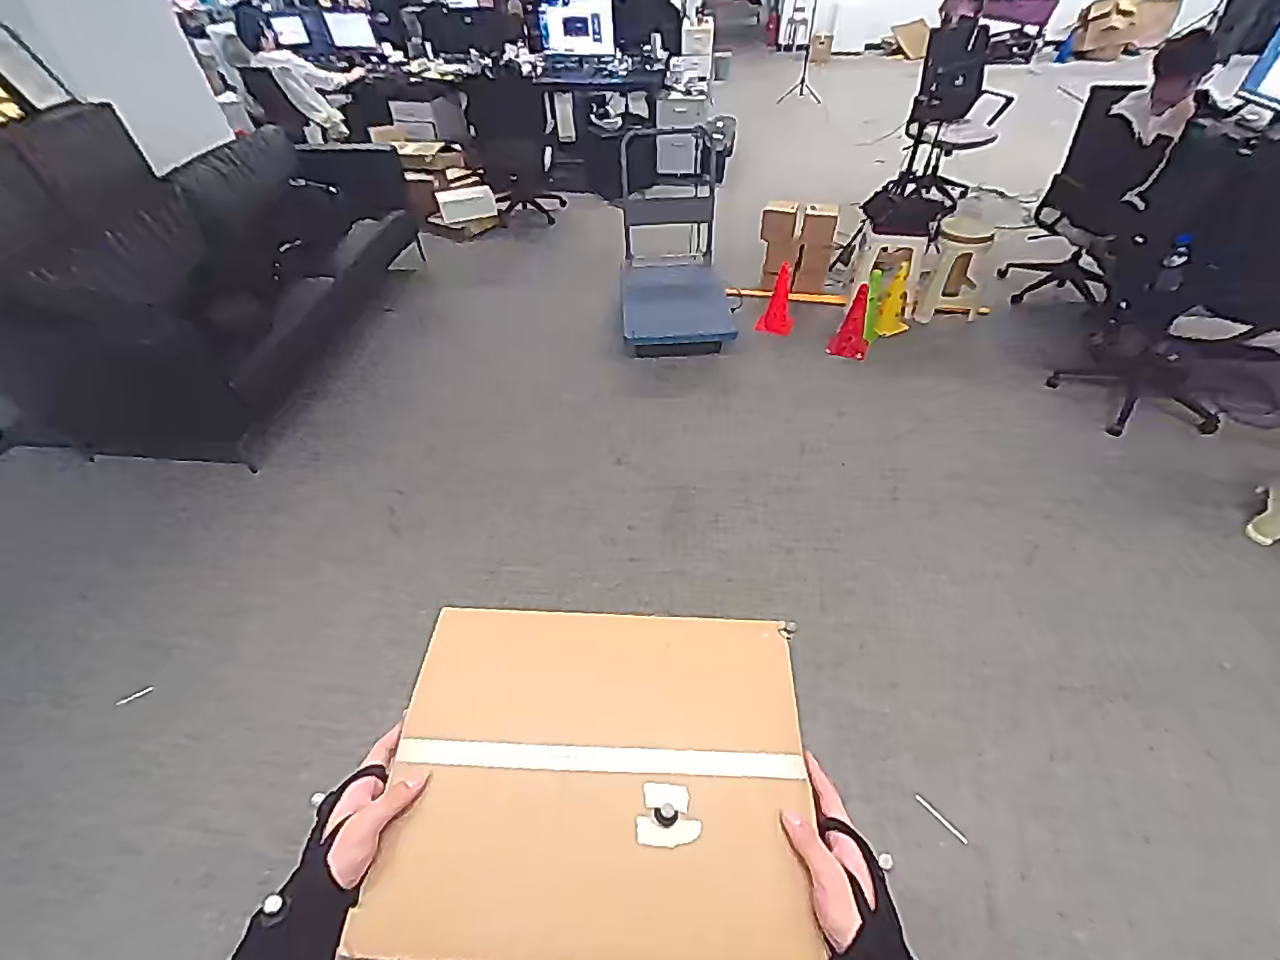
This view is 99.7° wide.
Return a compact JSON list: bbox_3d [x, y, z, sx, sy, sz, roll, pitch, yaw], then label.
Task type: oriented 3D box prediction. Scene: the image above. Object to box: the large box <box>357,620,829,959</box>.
[{"bbox_3d":[-0.039,0.386,0.656,0.408,0.320,0.320,2,49,1],"label":"large box"}]
